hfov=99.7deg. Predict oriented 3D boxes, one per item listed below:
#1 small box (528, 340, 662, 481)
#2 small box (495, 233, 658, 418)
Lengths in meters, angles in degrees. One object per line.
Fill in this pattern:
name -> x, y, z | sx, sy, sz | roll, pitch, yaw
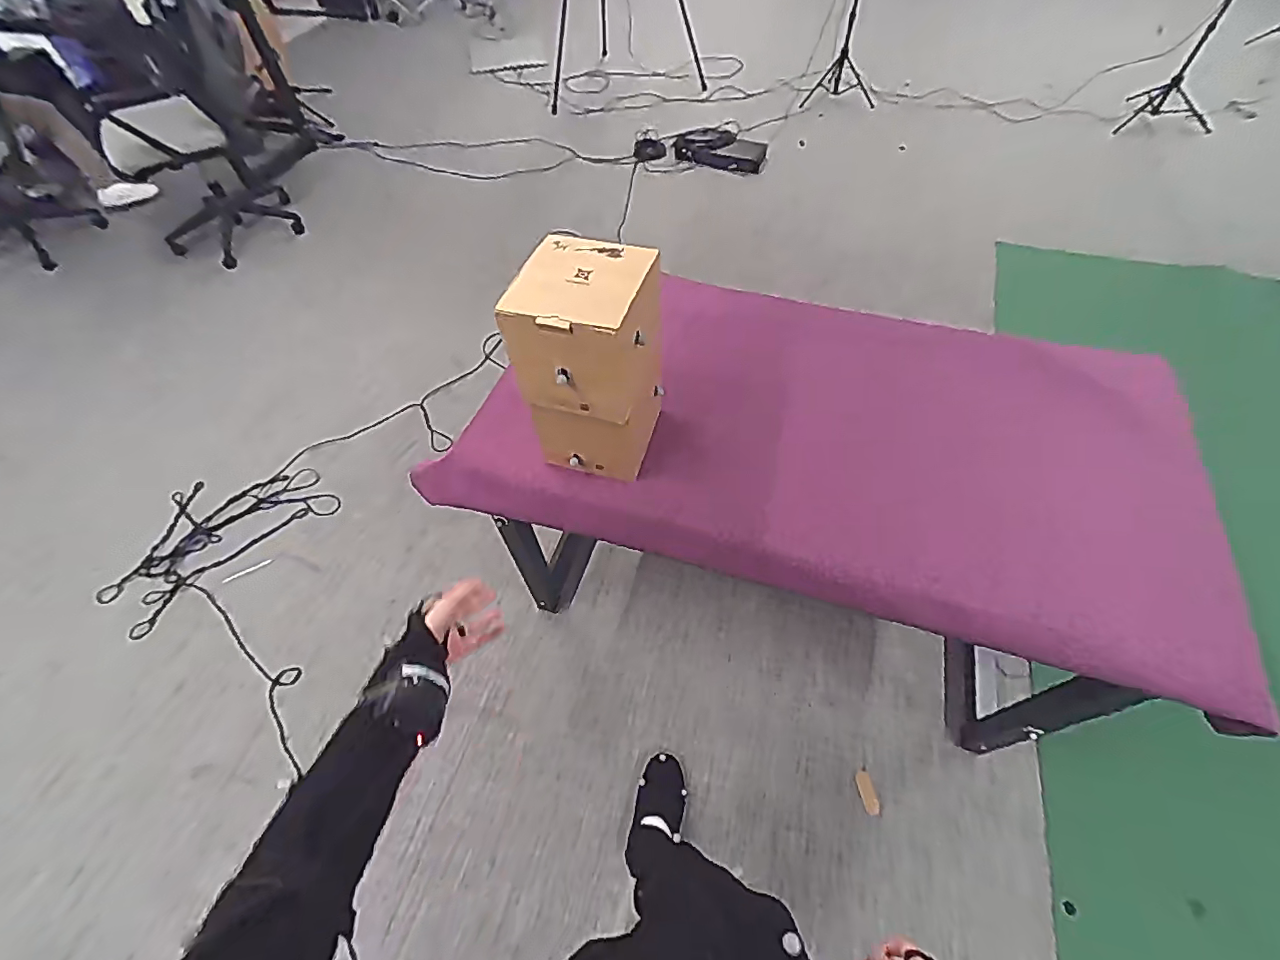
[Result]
small box -> -0.066, -0.128, 0.901 | 0.168, 0.176, 0.179 | 13, 57, 11
small box -> -0.074, -0.213, 0.762 | 0.168, 0.176, 0.179 | 14, 57, 12
